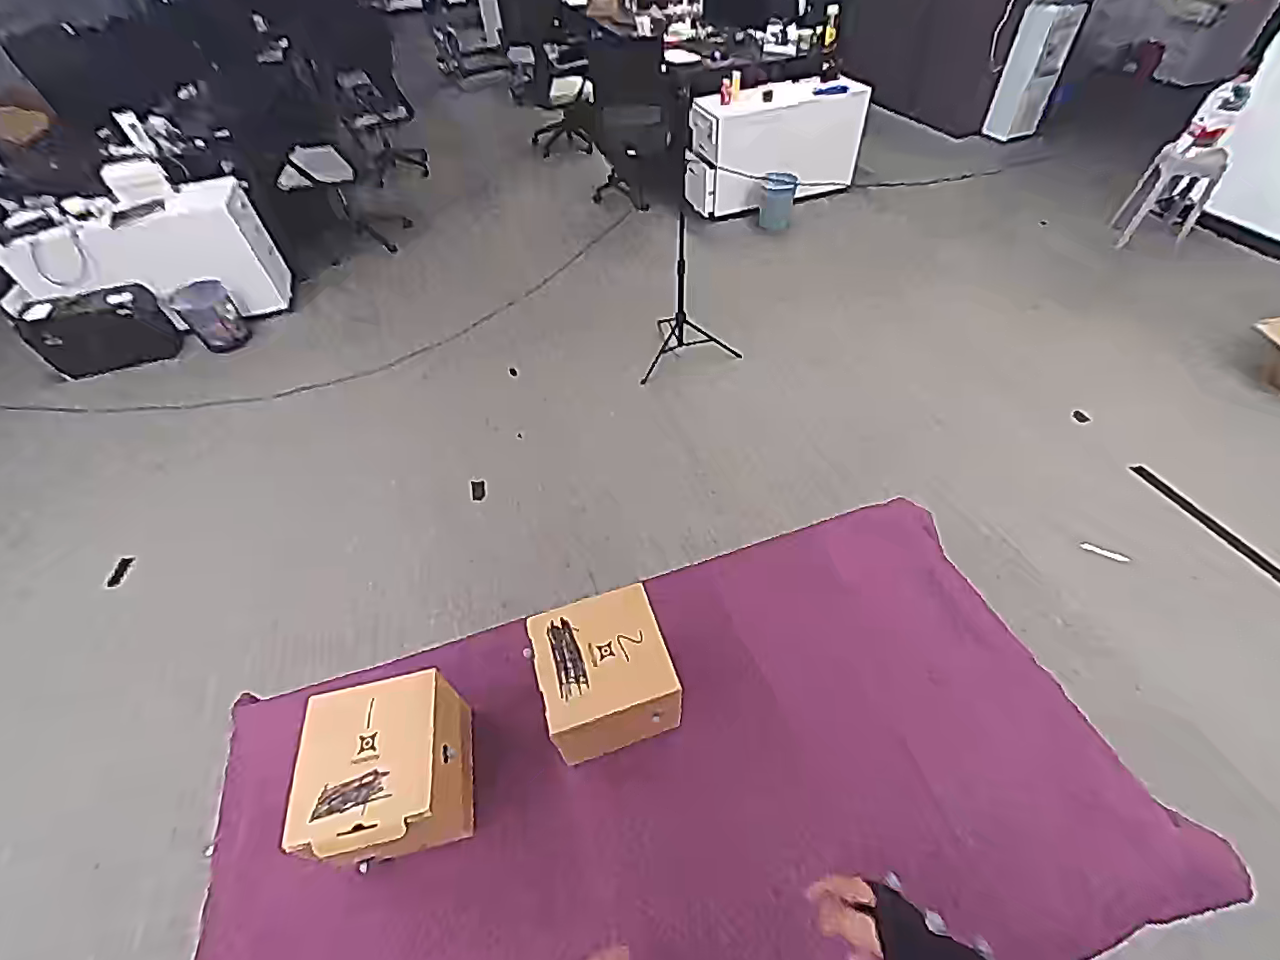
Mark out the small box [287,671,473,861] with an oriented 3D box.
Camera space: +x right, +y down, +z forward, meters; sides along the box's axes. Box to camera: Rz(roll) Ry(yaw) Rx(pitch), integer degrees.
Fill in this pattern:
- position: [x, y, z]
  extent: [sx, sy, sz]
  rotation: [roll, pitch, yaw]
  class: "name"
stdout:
- position: [-0.326, 0.384, 0.719]
  extent: [0.168, 0.176, 0.179]
  rotation: [-11, 49, -6]
  class: "small box"
